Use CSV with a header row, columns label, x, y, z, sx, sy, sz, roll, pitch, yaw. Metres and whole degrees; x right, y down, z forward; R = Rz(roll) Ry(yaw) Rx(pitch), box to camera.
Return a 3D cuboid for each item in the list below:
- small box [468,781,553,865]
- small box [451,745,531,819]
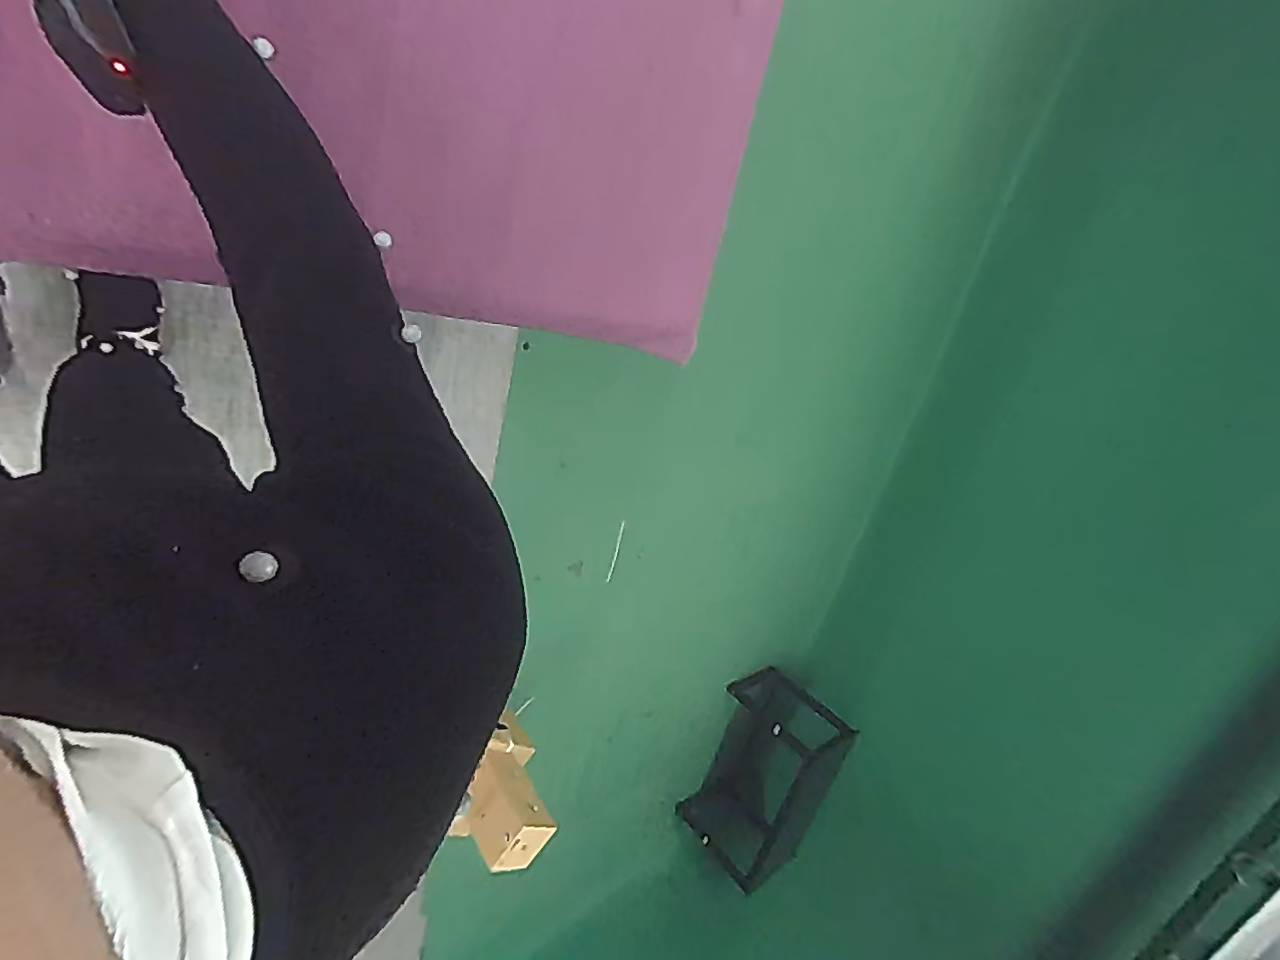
label,x,y,z,sx,sy,sz,roll,pitch,yaw
small box,-0.430,1.127,1.788,0.168,0.176,0.179,-51,139,-6
small box,-0.527,1.064,1.904,0.168,0.176,0.179,-51,138,-6
